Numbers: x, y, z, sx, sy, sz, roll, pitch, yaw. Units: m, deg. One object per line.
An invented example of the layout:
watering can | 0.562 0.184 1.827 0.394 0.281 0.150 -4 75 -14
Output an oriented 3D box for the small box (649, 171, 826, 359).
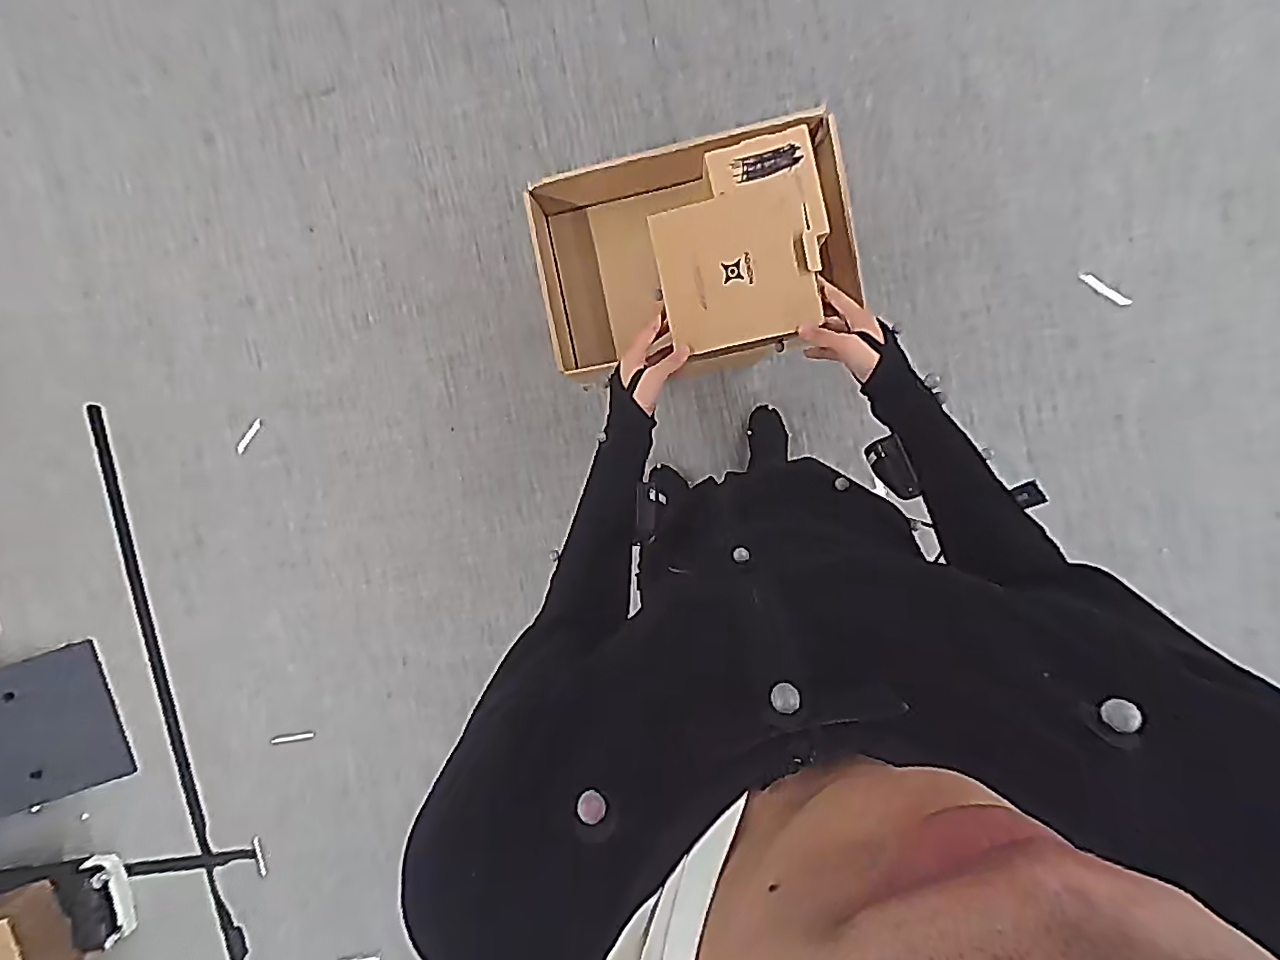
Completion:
small box | 0.117 -0.254 0.683 0.179 0.176 0.168 -11 98 8
